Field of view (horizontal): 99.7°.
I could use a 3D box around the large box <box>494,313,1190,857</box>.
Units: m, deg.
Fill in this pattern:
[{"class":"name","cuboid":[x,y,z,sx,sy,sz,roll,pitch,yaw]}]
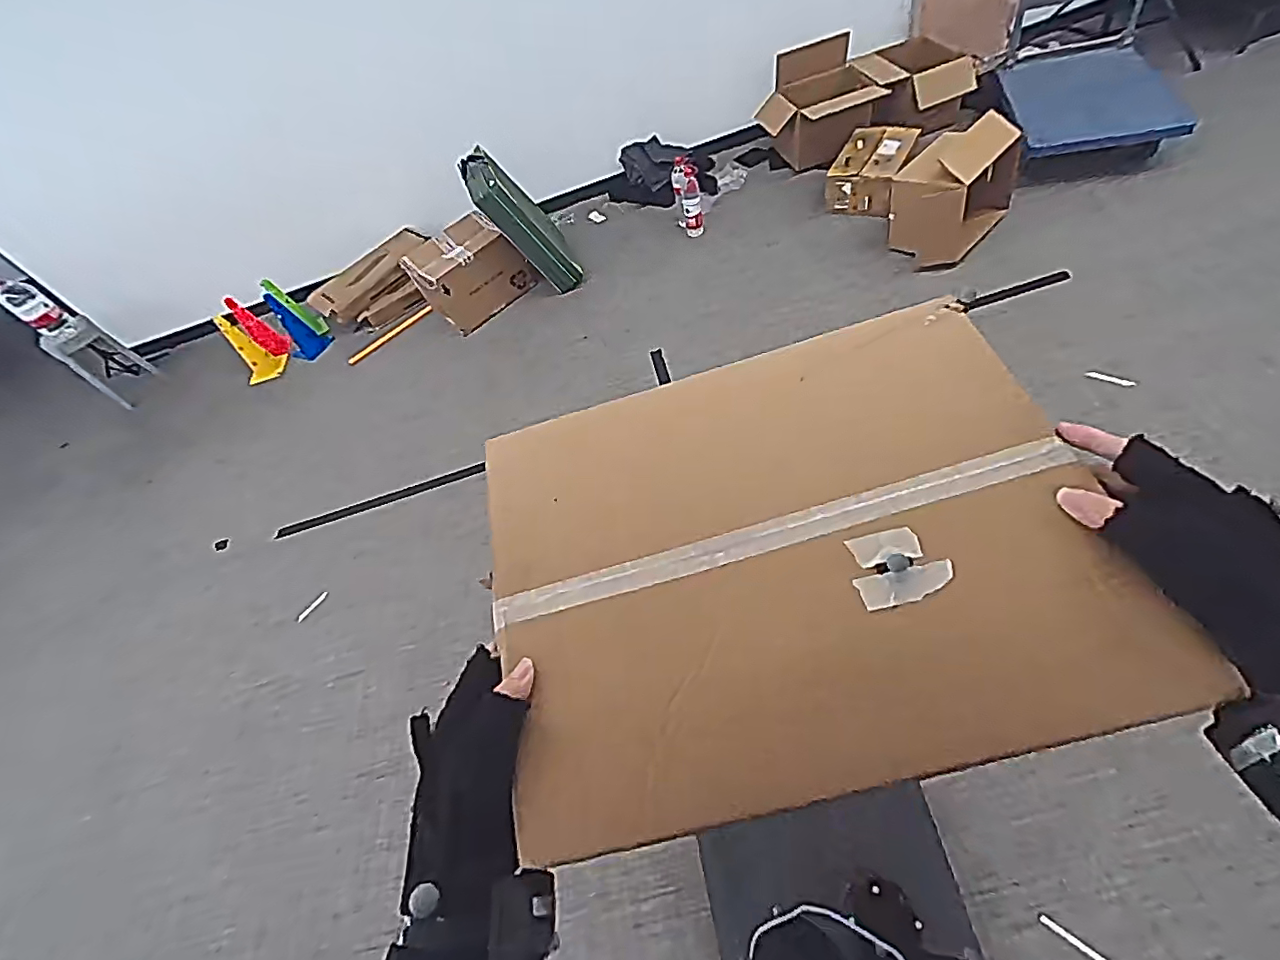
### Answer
[{"class":"large box","cuboid":[0.121,0.114,0.519,0.408,0.320,0.320,-17,60,4]}]
